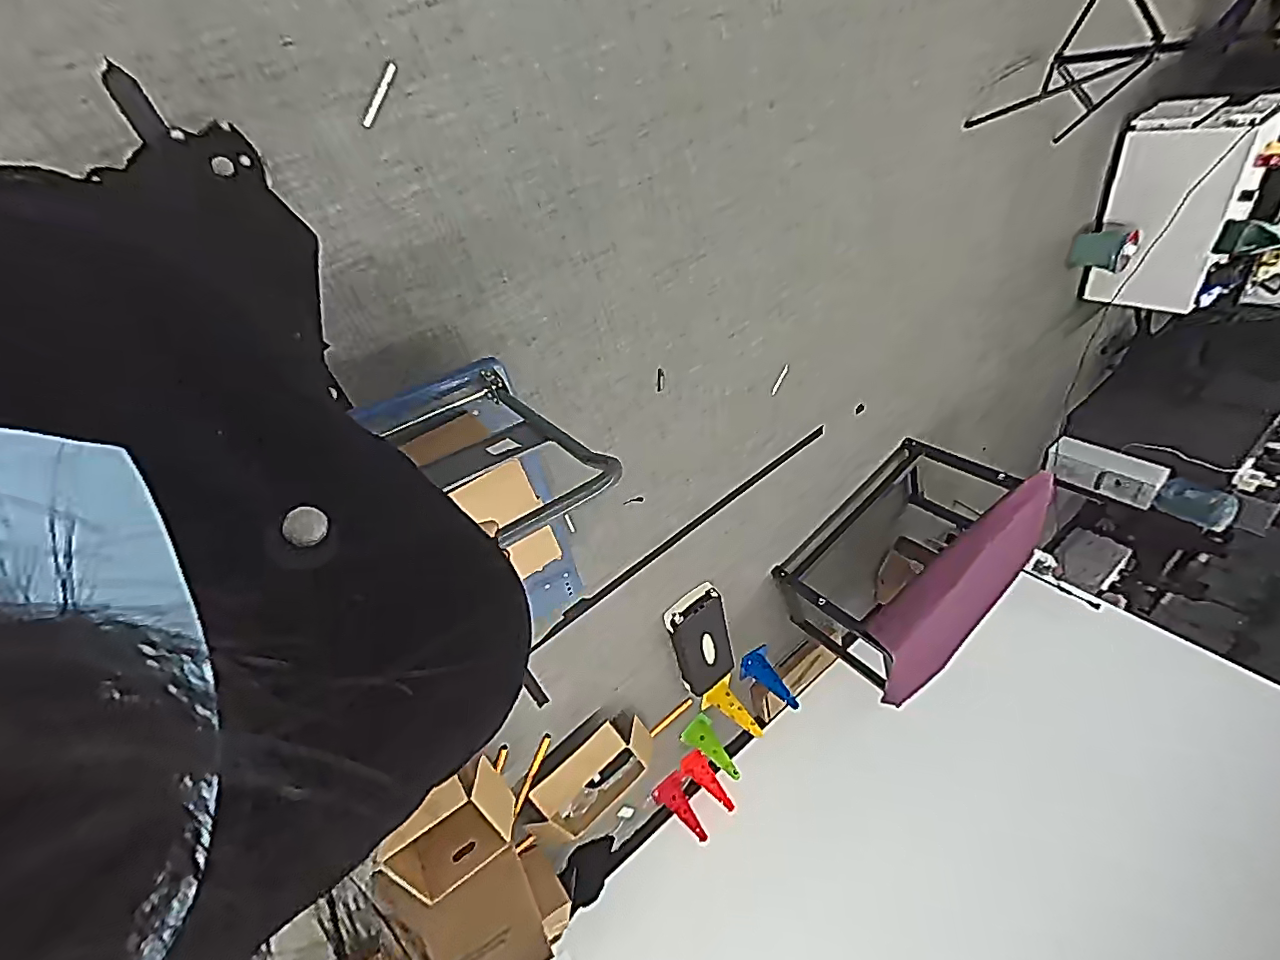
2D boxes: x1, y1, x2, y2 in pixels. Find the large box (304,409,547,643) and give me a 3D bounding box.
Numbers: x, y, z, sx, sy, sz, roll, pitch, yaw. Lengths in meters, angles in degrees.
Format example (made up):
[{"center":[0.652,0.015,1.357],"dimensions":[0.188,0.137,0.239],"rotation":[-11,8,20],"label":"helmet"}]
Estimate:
[{"center":[-0.500,0.089,1.287],"dimensions":[0.408,0.320,0.320],"rotation":[-32,130,-19],"label":"large box"}]
